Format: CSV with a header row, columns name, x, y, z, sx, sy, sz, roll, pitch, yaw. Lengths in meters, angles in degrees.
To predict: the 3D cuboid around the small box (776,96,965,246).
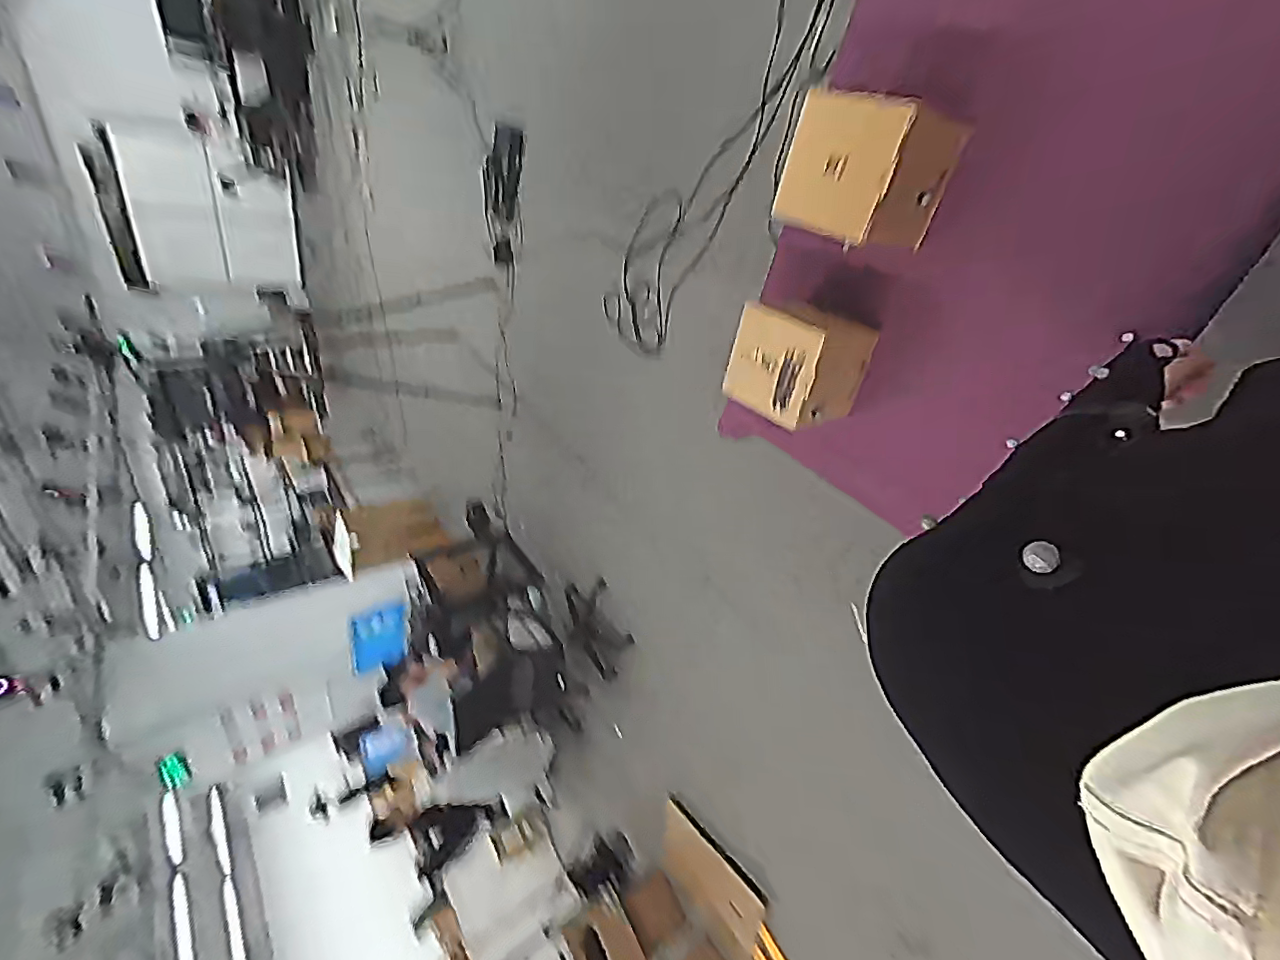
name,x,y,z,sx,sy,sz,roll,pitch,yaw
small box,0.350,-0.467,0.832,0.179,0.176,0.168,40,131,37
